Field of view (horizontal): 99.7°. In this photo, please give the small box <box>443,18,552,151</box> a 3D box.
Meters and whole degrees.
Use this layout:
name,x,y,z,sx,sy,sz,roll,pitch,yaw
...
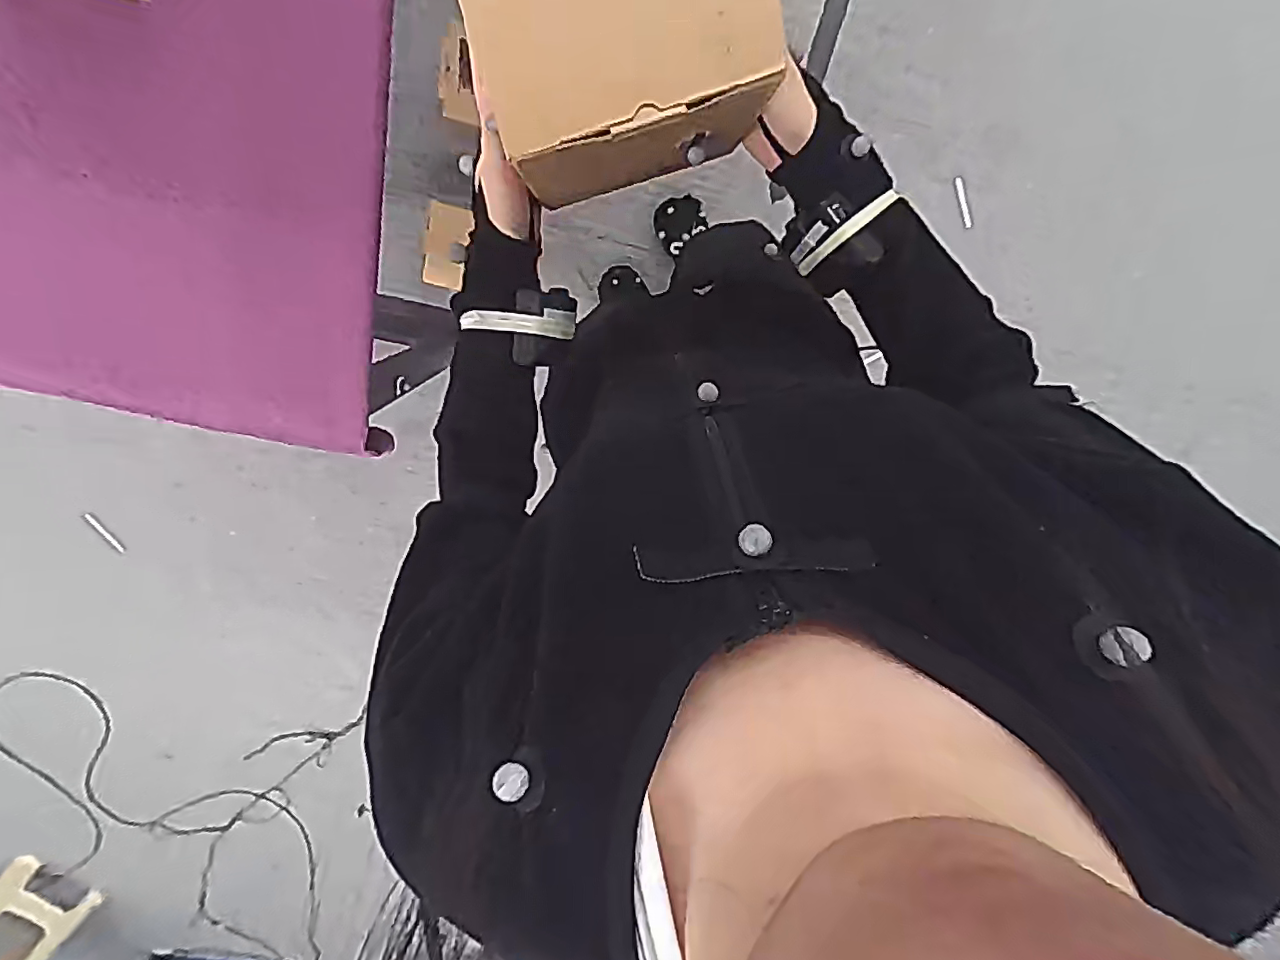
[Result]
name,x,y,z,sx,sy,sz,roll,pitch,yaw
small box,-0.290,-0.805,1.122,0.179,0.176,0.168,11,112,-7

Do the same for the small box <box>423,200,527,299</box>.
name,x,y,z,sx,sy,sz,roll,pitch,yaw
small box,-0.372,-0.521,1.236,0.179,0.176,0.168,13,111,-6
